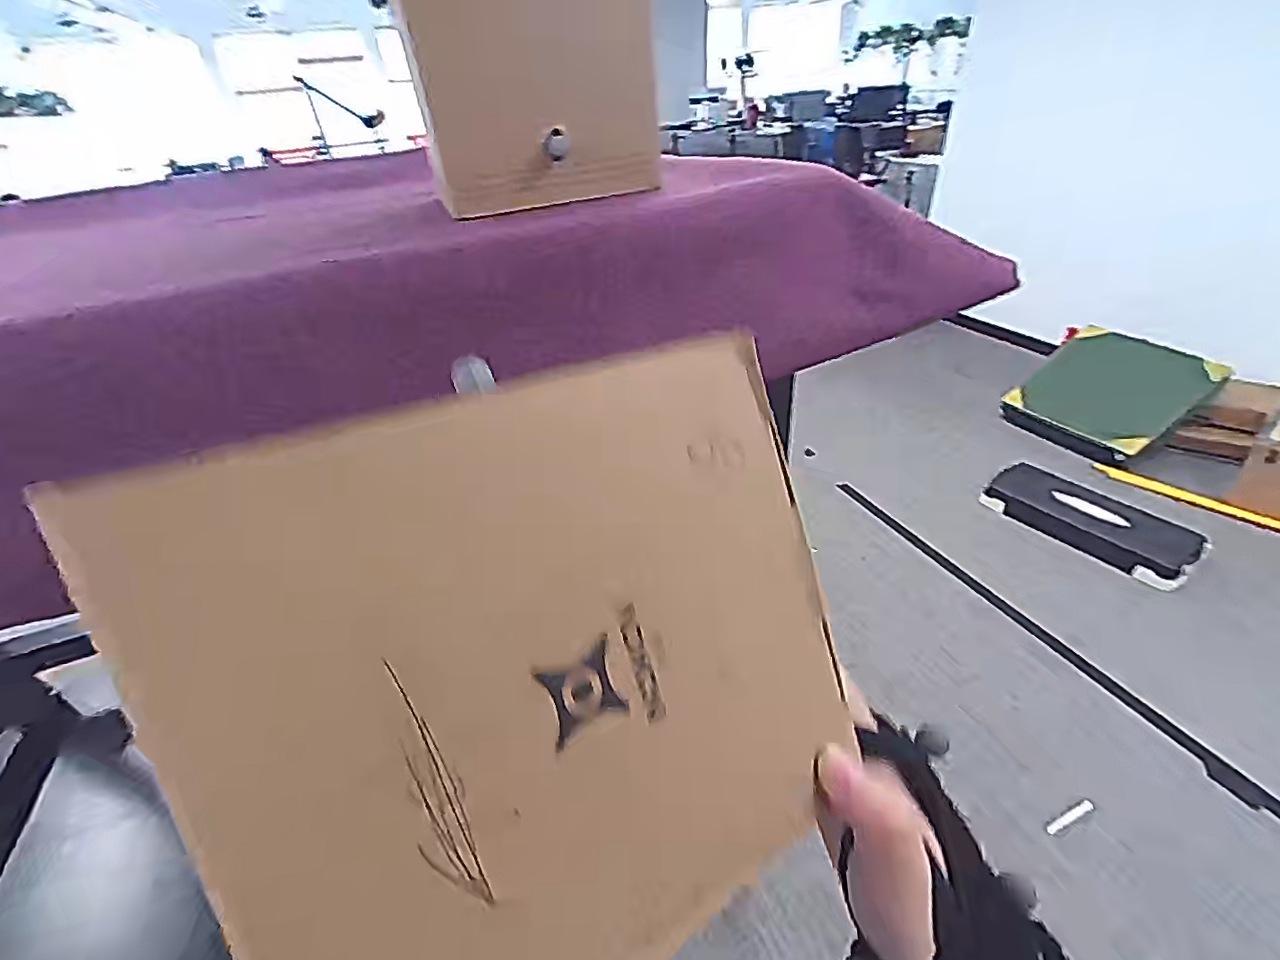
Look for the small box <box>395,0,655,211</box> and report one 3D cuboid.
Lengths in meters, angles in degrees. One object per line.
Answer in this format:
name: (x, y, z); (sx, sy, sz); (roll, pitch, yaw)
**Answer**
small box: (-0.093, -0.335, 0.447); (0.179, 0.176, 0.168); (-16, 36, -14)
